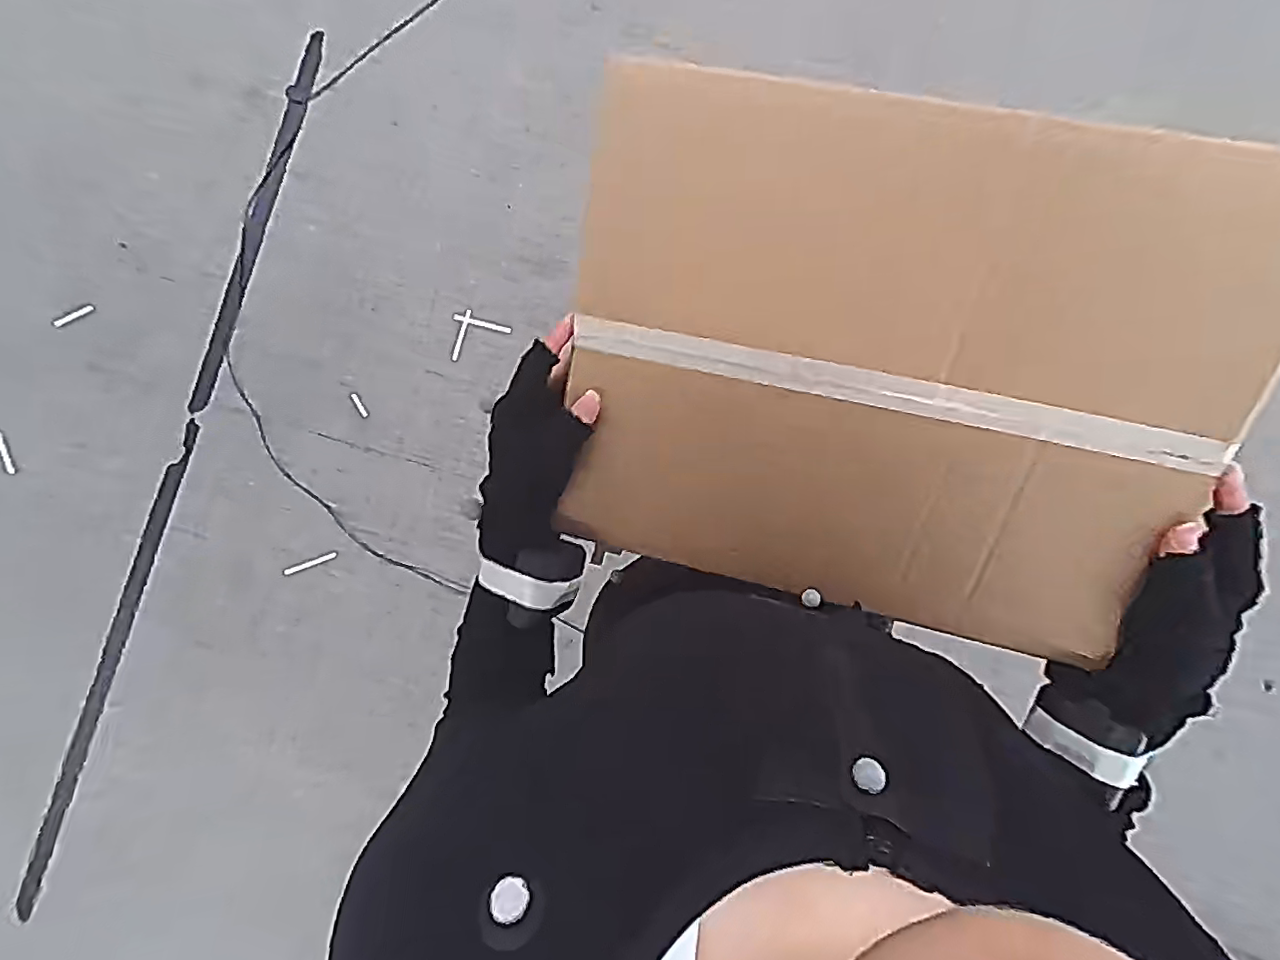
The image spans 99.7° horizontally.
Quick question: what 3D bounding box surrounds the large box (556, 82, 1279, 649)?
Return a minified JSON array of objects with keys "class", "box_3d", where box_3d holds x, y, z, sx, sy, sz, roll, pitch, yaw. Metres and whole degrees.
[{"class":"large box","box_3d":[0.173,-0.106,0.494,0.408,0.320,0.320,13,111,7]}]
